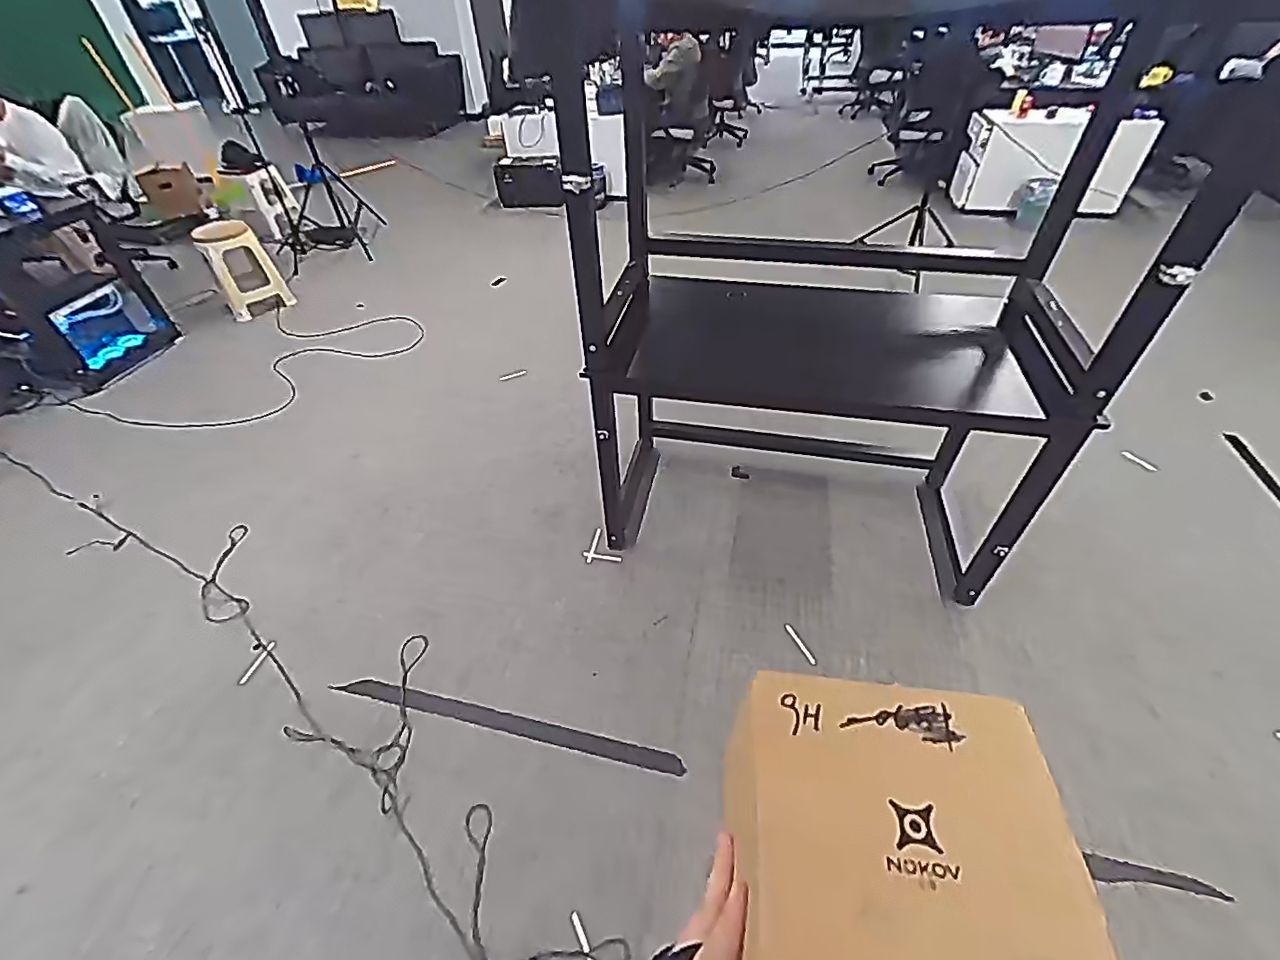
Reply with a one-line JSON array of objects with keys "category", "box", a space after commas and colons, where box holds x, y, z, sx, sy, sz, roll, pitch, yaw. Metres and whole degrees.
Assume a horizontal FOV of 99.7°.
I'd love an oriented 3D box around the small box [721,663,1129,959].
[{"category": "small box", "box": [0.143, 0.240, 0.332, 0.168, 0.176, 0.179, 6, 46, 4]}]
